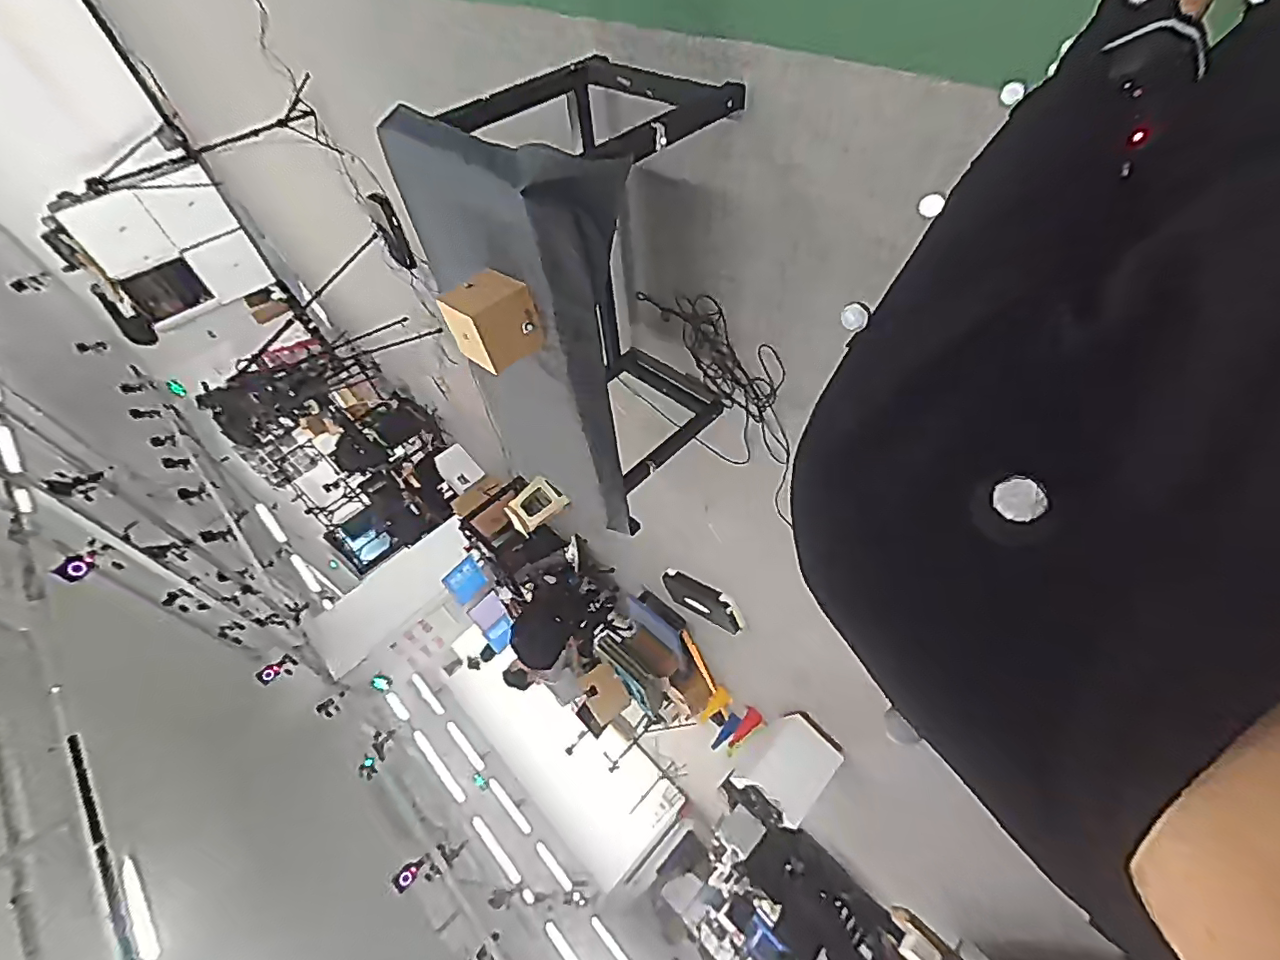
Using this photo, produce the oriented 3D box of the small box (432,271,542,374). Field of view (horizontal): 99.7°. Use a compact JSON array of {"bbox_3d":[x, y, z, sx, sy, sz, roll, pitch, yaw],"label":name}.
[{"bbox_3d":[-0.373,-0.398,1.344,0.179,0.176,0.168,32,152,34],"label":"small box"}]
